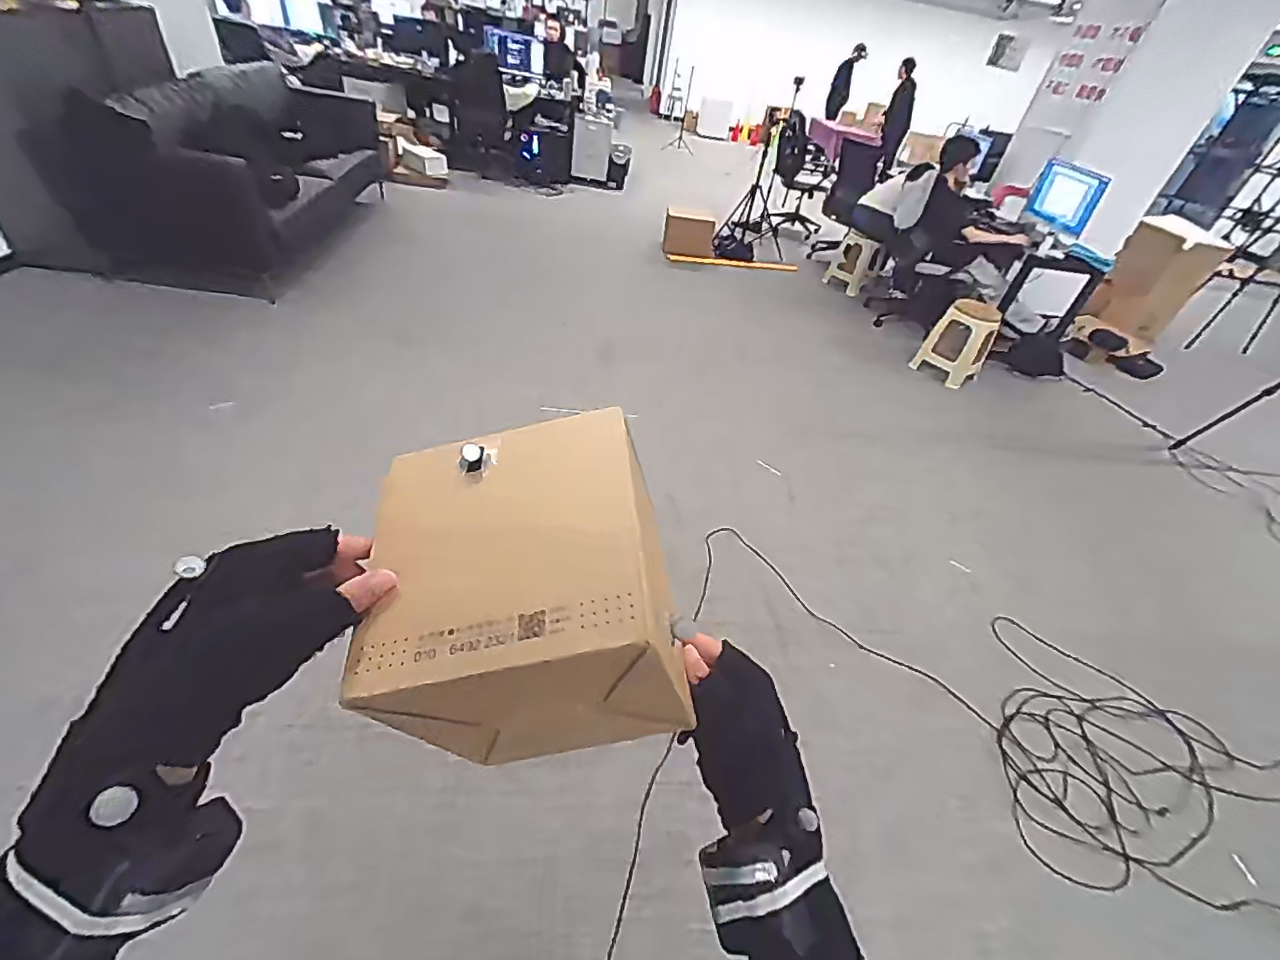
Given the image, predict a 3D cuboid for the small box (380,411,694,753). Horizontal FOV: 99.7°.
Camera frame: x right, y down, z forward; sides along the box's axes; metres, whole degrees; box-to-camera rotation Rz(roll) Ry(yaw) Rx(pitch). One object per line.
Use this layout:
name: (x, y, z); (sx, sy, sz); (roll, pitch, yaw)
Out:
small box: (-0.060, 0.083, 0.391); (0.168, 0.179, 0.176); (-13, 51, 4)
